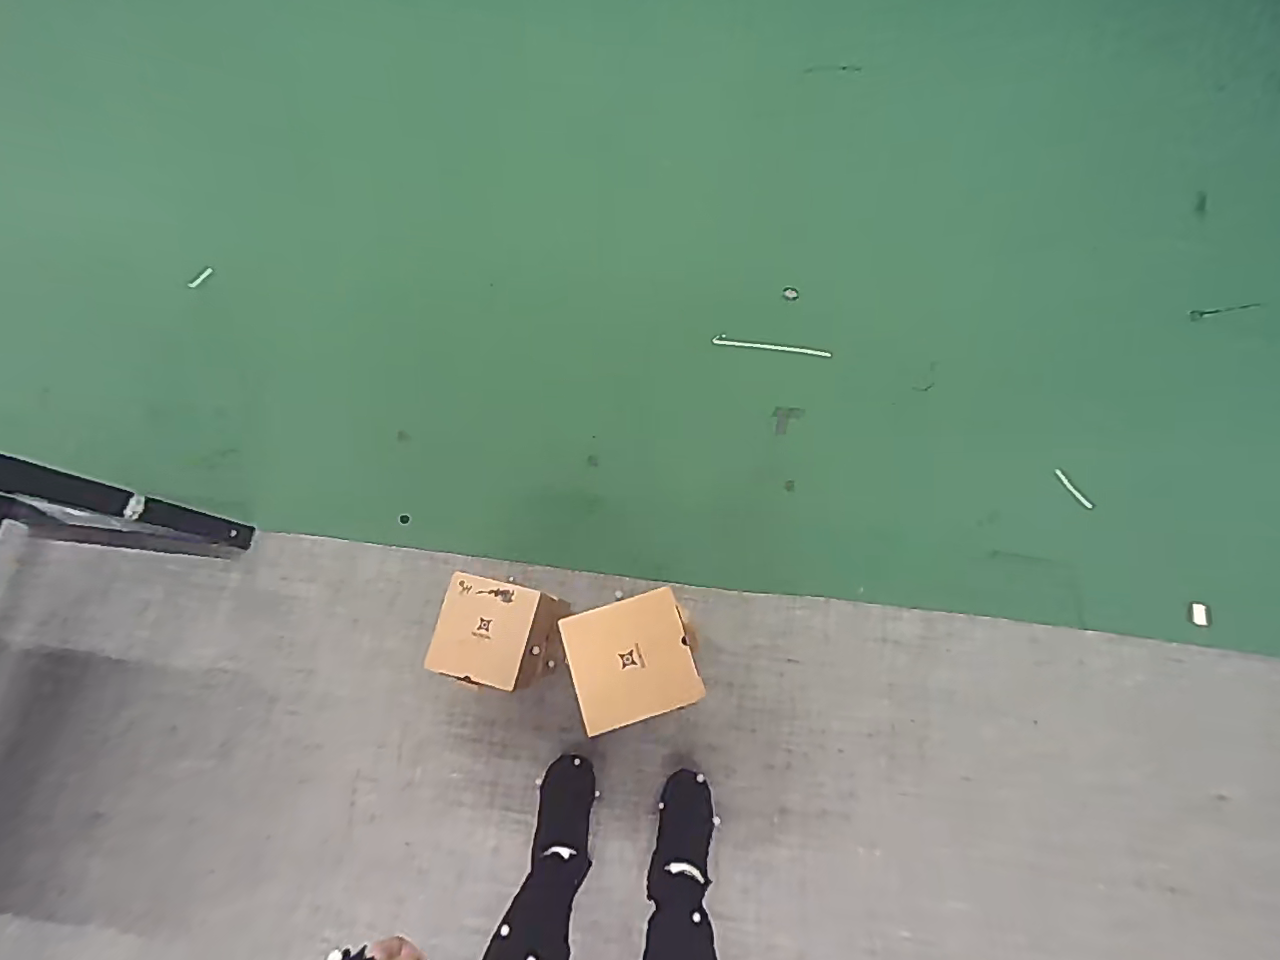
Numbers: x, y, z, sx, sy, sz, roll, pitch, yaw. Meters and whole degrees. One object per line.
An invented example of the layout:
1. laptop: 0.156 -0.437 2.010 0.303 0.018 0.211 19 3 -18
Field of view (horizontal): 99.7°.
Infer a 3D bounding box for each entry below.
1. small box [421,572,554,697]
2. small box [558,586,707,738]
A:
1. small box: -0.269 0.285 1.001 0.168 0.176 0.179 12 74 6
2. small box: -0.011 0.275 0.832 0.179 0.176 0.168 -17 75 -5
